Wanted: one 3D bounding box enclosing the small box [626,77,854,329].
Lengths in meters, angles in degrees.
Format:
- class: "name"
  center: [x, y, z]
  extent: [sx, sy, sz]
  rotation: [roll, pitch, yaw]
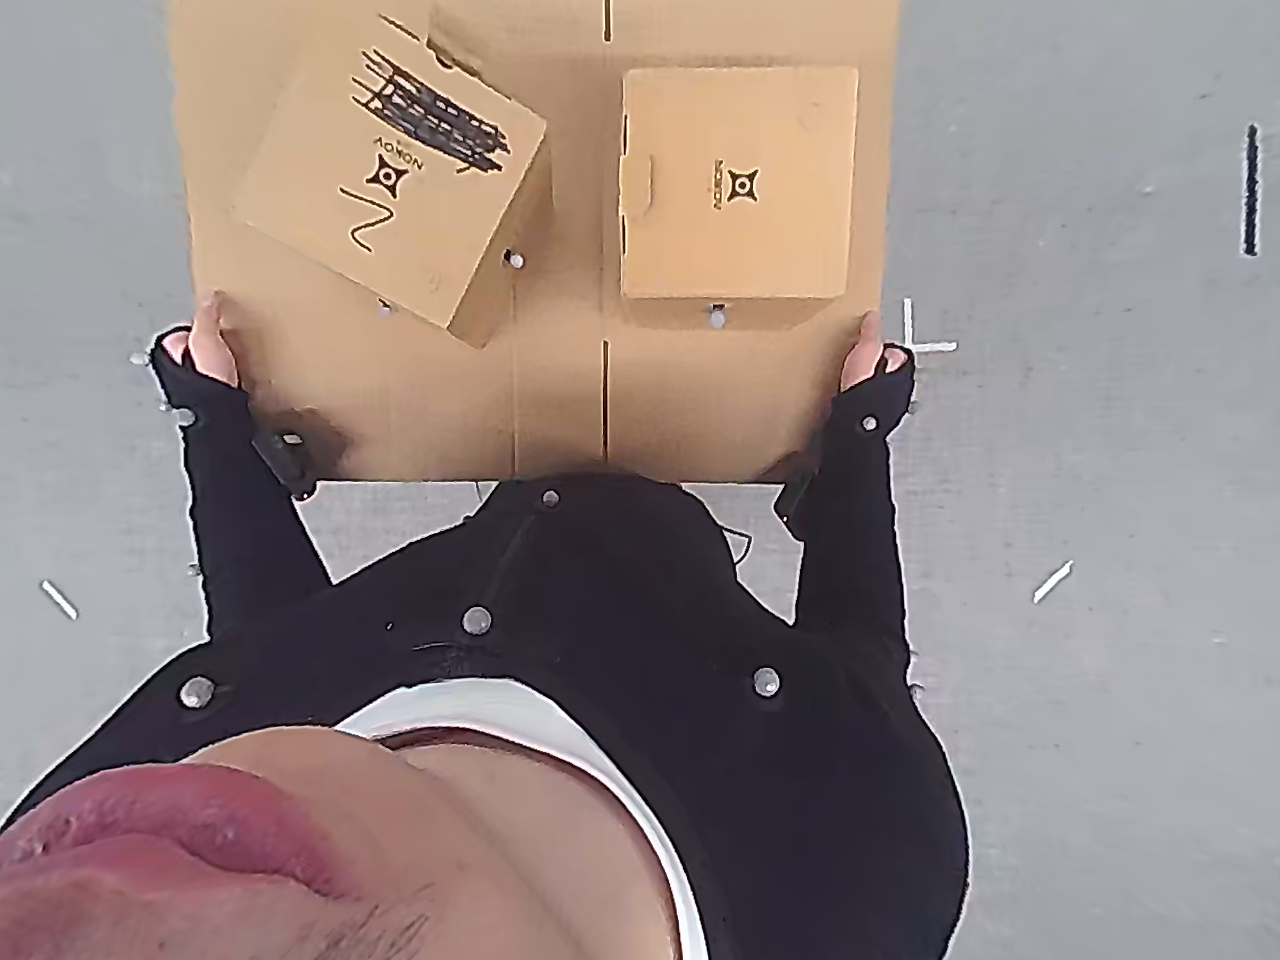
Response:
- class: "small box"
  center: [0.080, -0.239, 0.507]
  extent: [0.179, 0.176, 0.168]
  rotation: [1, 97, 3]
